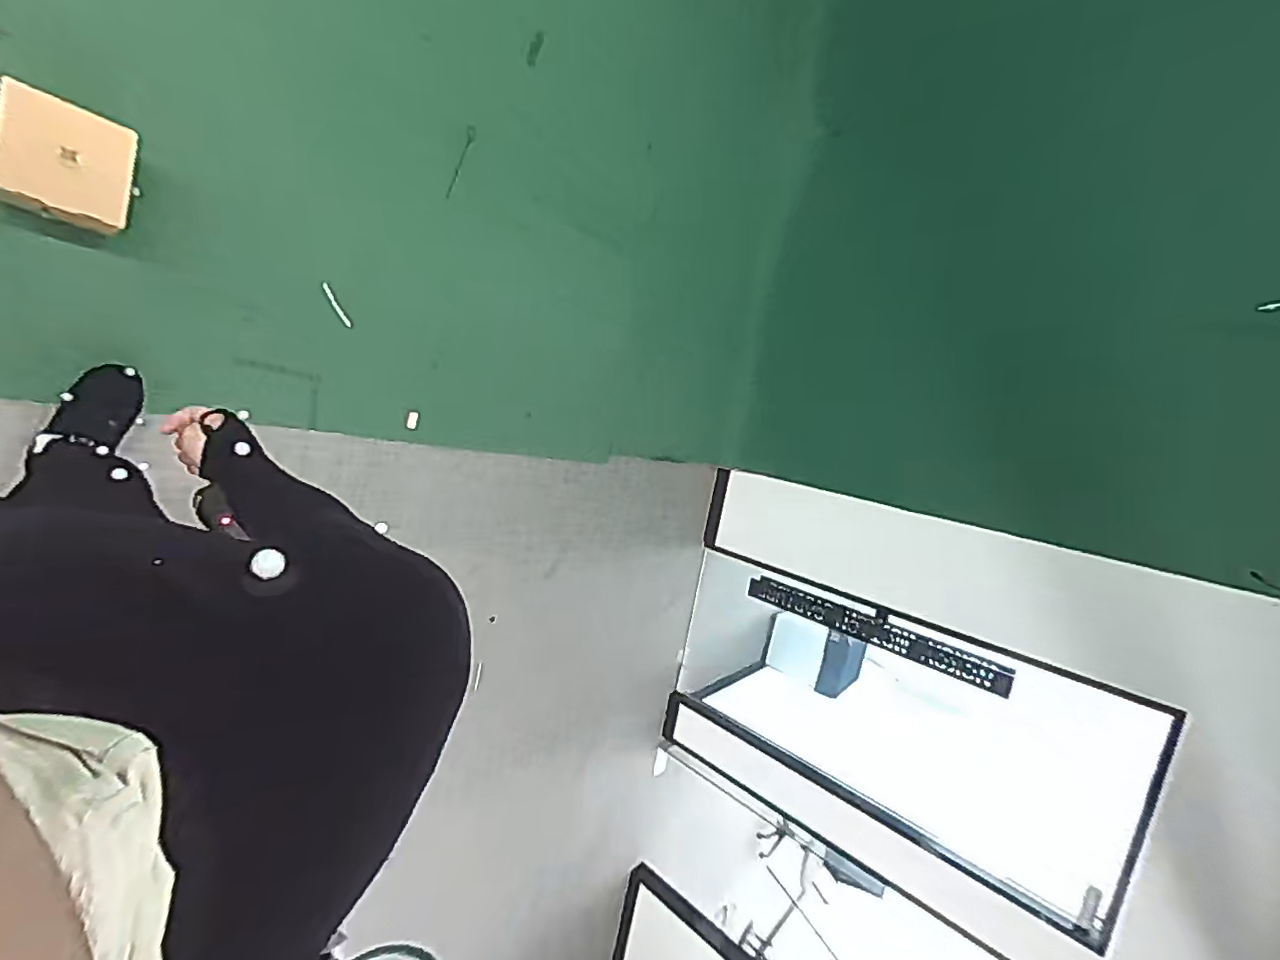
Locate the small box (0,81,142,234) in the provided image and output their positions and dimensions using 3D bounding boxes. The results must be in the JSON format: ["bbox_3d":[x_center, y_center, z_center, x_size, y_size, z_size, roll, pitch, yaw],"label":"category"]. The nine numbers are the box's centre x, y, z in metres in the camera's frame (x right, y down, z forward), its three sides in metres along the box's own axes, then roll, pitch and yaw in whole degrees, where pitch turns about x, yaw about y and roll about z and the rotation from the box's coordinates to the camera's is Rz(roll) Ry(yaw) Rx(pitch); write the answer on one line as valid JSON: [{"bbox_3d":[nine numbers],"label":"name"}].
[{"bbox_3d":[-1.043,-0.570,0.984,0.168,0.176,0.179,6,98,-51],"label":"small box"}]
